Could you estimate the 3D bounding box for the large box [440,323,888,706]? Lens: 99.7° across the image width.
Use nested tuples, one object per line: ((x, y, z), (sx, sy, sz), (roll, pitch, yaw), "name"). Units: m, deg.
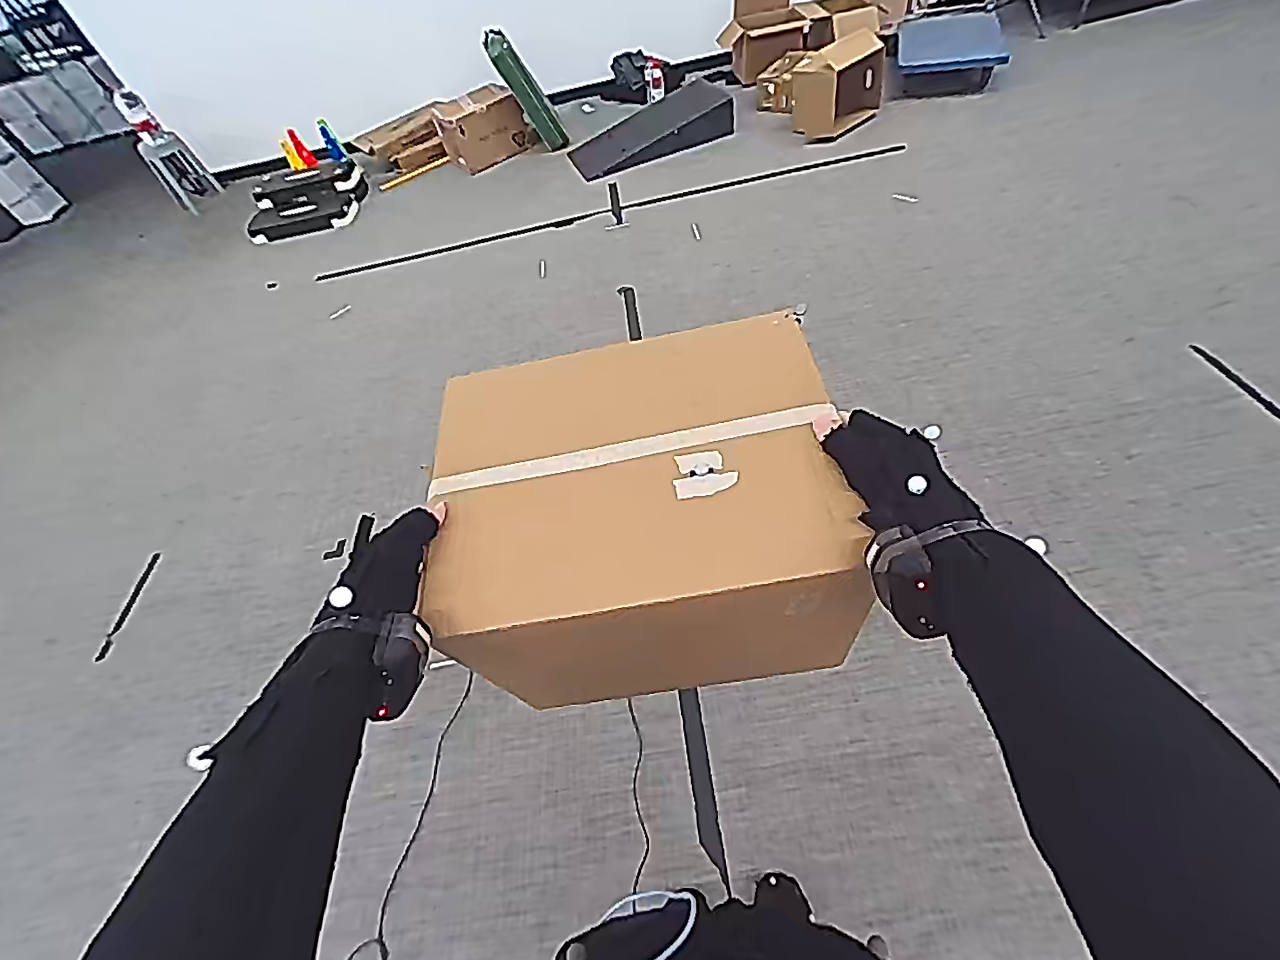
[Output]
((0.020, 0.060, 0.669), (0.408, 0.320, 0.320), (-10, 56, 4), "large box")
